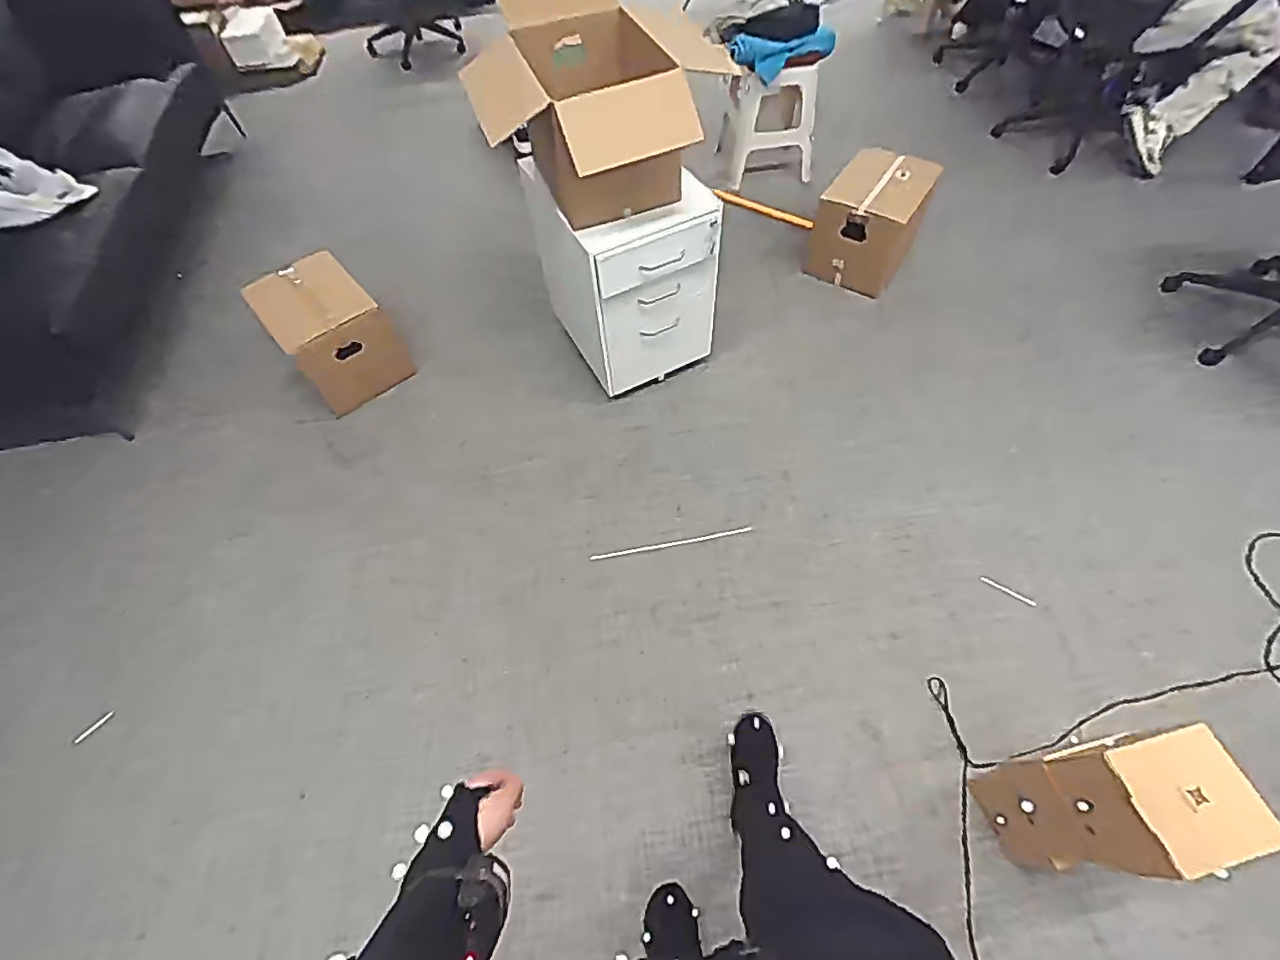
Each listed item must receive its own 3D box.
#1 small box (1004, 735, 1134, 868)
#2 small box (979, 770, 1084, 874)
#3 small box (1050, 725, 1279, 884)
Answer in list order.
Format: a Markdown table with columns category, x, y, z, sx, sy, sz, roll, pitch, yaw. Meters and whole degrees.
| category | x | y | z | sx | sy | sz | roll | pitch | yaw |
| --- | --- | --- | --- | --- | --- | --- | --- | --- | --- |
| small box | 0.821 | 0.582 | 0.985 | 0.179 | 0.176 | 0.168 | -14 | 57 | -4 |
| small box | 0.839 | 0.684 | 1.113 | 0.179 | 0.176 | 0.168 | -16 | 58 | -7 |
| small box | 0.807 | 0.501 | 0.844 | 0.179 | 0.176 | 0.168 | -15 | 57 | -4 |
